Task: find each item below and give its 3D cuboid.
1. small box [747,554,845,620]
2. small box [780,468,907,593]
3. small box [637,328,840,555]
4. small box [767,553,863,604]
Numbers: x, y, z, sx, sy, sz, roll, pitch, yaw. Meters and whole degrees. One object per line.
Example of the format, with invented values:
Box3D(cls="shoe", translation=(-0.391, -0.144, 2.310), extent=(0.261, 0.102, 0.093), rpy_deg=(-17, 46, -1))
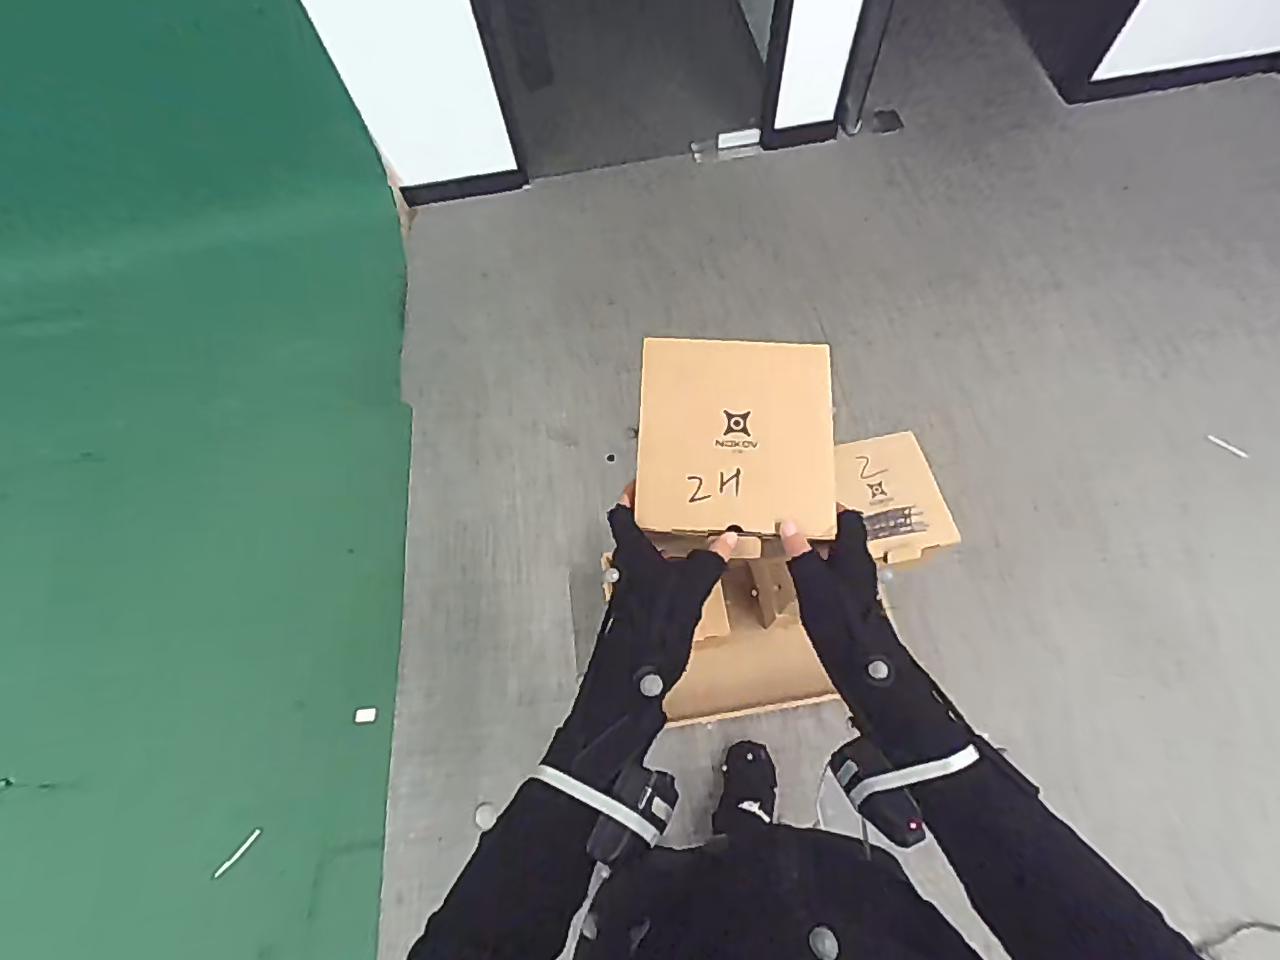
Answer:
Box3D(cls="small box", translation=(0.360, 0.227, 1.280), extent=(0.168, 0.176, 0.179), rpy_deg=(-14, 66, 0))
Box3D(cls="small box", translation=(0.347, 0.100, 0.977), extent=(0.168, 0.176, 0.179), rpy_deg=(-9, 66, 0))
Box3D(cls="small box", translation=(0.084, -0.027, 0.531), extent=(0.168, 0.176, 0.179), rpy_deg=(3, 76, 2))
Box3D(cls="small box", translation=(0.360, 0.151, 1.115), extent=(0.168, 0.176, 0.179), rpy_deg=(-10, 66, 1))
